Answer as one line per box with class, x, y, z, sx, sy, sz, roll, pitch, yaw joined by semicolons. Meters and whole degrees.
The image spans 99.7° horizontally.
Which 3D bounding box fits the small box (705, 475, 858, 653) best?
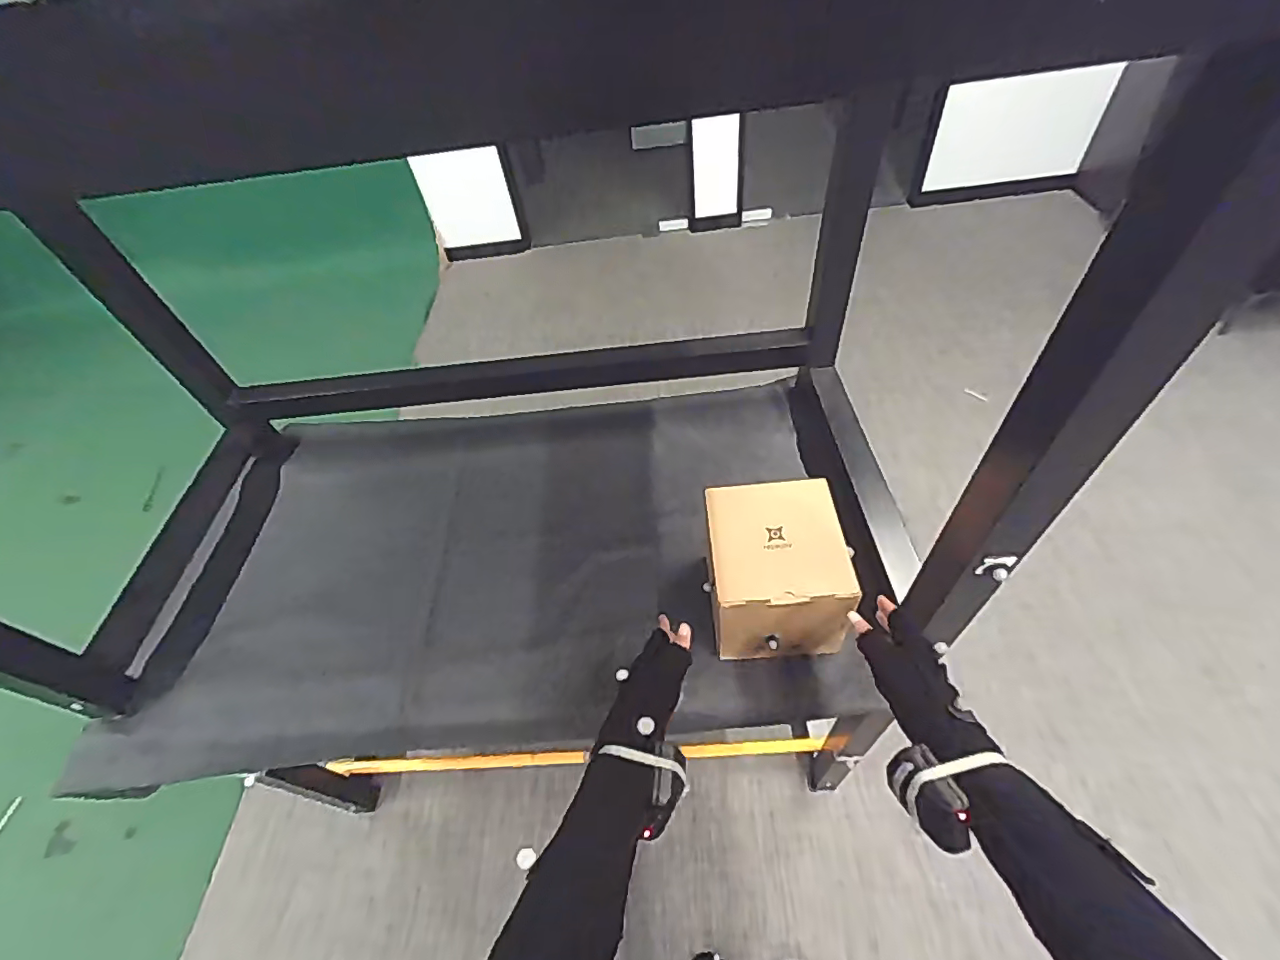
small box;0.177;0.117;0.738;0.168;0.176;0.179;-5;50;5
